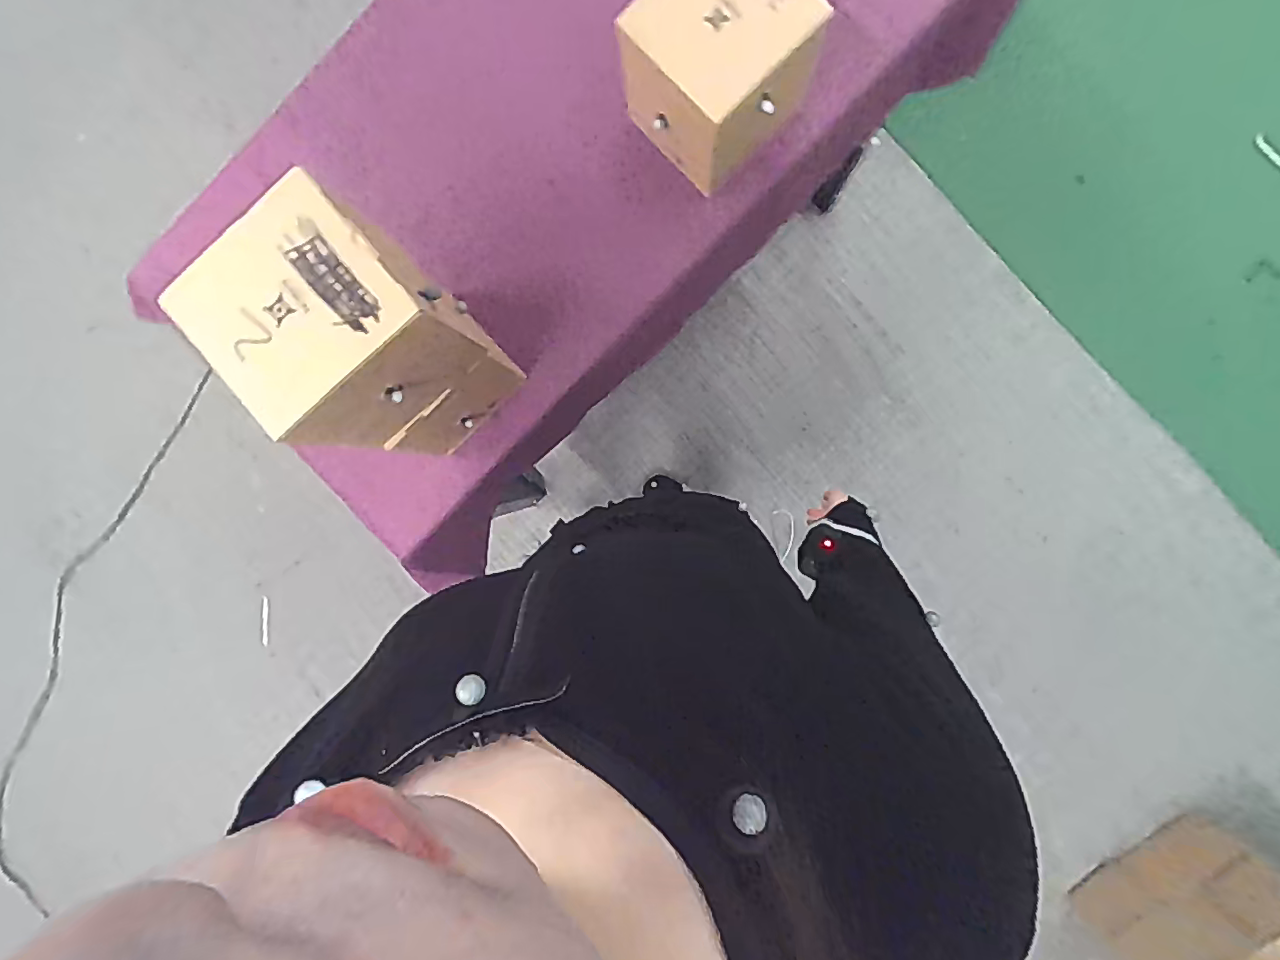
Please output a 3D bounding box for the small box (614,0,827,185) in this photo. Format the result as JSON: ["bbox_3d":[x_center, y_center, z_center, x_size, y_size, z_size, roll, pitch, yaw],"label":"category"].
[{"bbox_3d":[0.093,-0.514,0.668,0.179,0.176,0.168,-44,89,4],"label":"small box"}]

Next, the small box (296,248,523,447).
[{"bbox_3d":[-0.284,-0.155,0.706,0.168,0.176,0.179,-44,89,4],"label":"small box"}]
